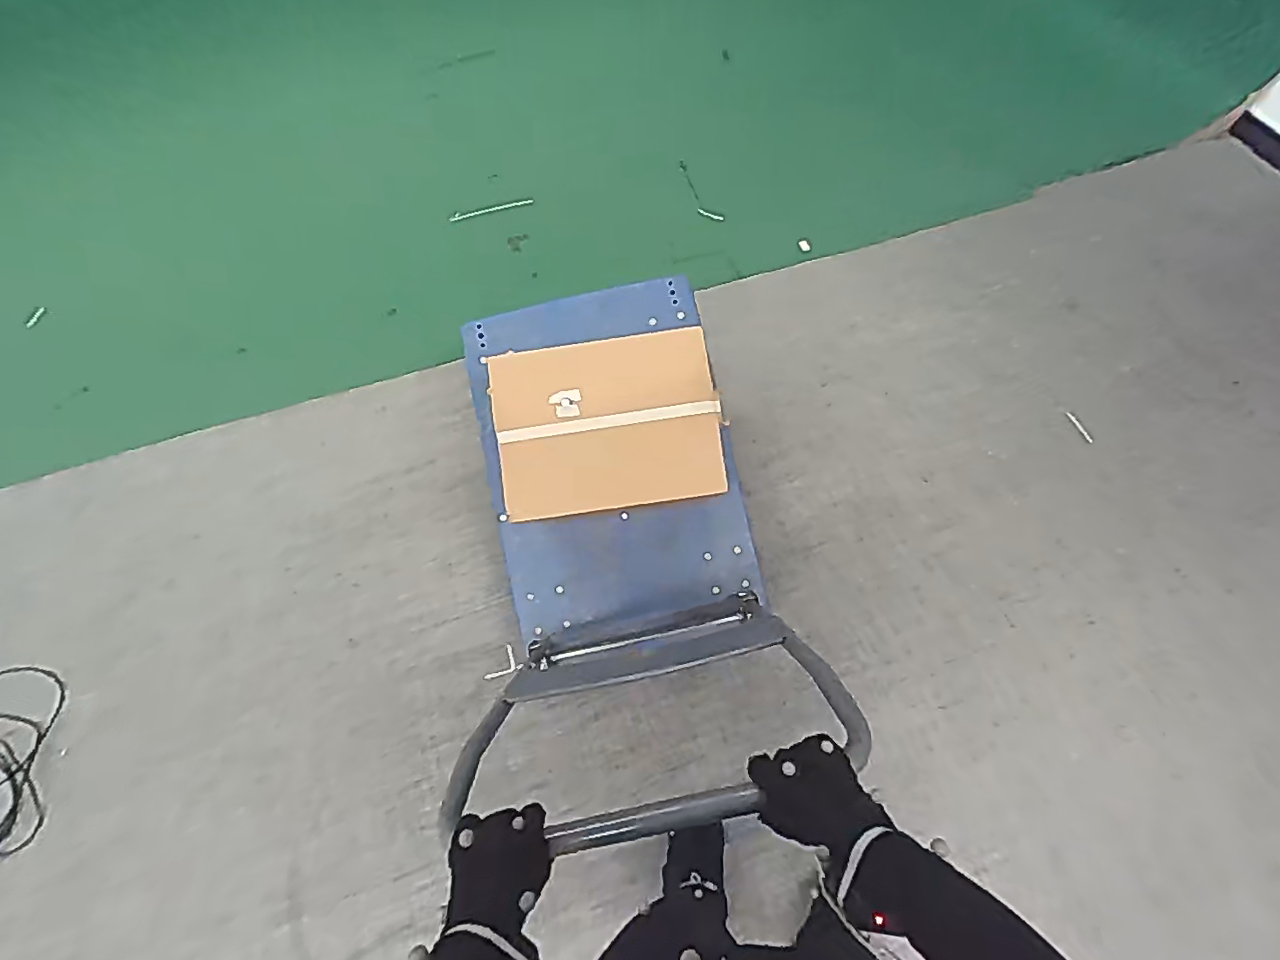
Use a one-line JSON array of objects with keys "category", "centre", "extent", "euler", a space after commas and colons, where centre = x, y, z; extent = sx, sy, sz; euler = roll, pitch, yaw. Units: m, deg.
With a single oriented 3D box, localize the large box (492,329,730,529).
[{"category": "large box", "centre": [-0.049, -0.086, 1.132], "extent": [0.408, 0.320, 0.320], "euler": [-9, 85, 2]}]
